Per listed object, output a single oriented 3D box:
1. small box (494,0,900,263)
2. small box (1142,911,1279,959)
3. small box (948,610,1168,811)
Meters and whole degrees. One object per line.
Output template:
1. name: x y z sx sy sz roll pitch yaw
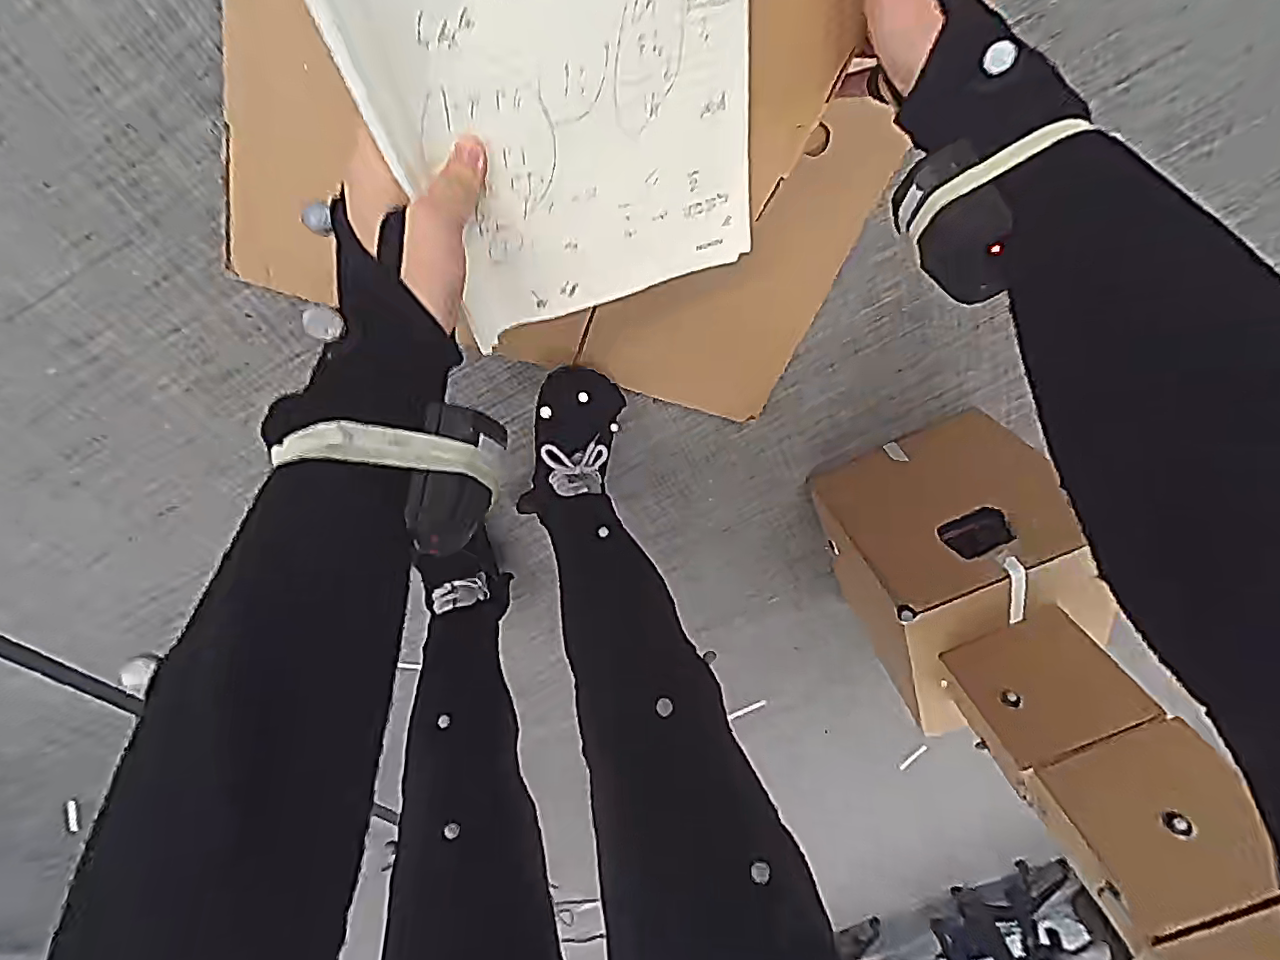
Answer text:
1. small box: 0.015 -0.275 0.350 0.179 0.176 0.168 16 121 -27
2. small box: 0.617 0.517 0.492 0.179 0.176 0.168 -27 128 9
3. small box: 0.554 0.314 0.743 0.179 0.176 0.168 -29 128 9
